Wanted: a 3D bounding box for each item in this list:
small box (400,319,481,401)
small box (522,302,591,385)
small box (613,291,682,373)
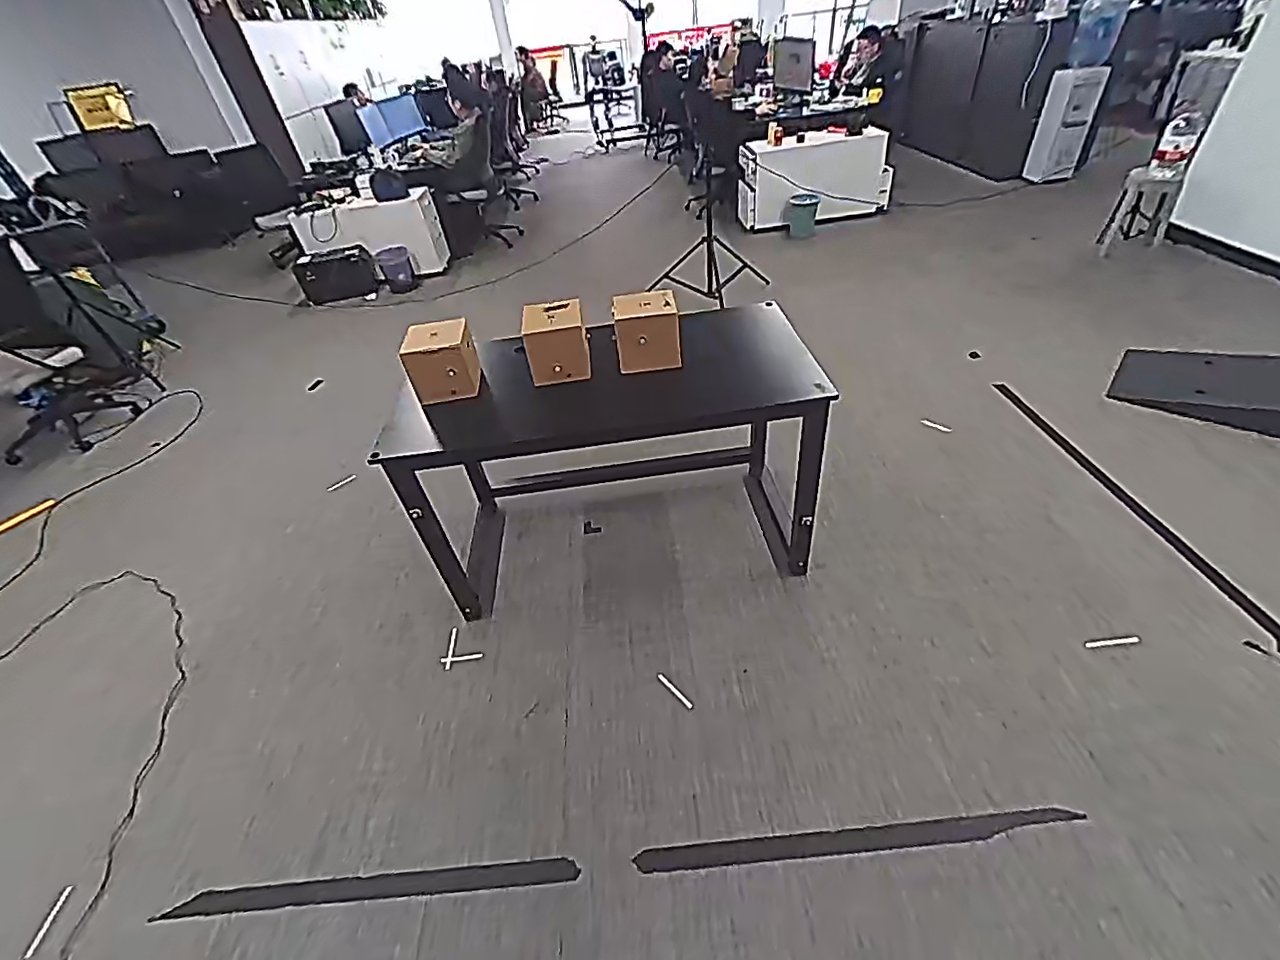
[{"bbox_3d":[-0.566,-0.340,1.556,0.168,0.176,0.179,-9,40,-4],"label":"small box"},{"bbox_3d":[-0.238,-0.395,1.568,0.168,0.176,0.179,-9,41,-1],"label":"small box"},{"bbox_3d":[0.021,-0.424,1.562,0.179,0.176,0.168,-7,40,2],"label":"small box"}]
